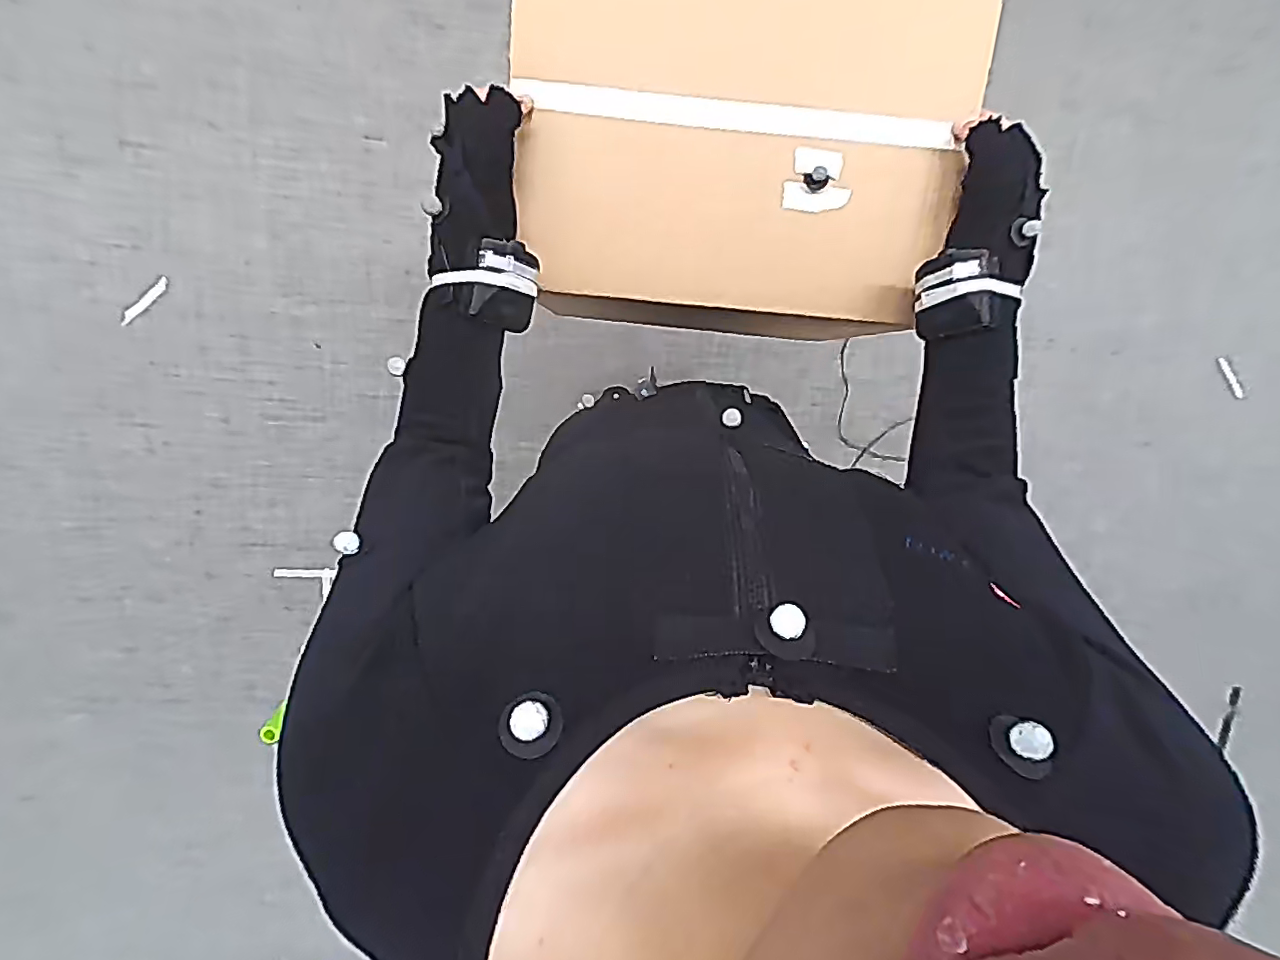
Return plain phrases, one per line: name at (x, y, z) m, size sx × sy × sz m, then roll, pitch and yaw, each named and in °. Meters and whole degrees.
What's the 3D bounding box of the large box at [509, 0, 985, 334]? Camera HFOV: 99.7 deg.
large box at (0.082, -0.347, 0.616) m, size 0.408 × 0.320 × 0.320 m, roll 4°, pitch 102°, yaw -3°
